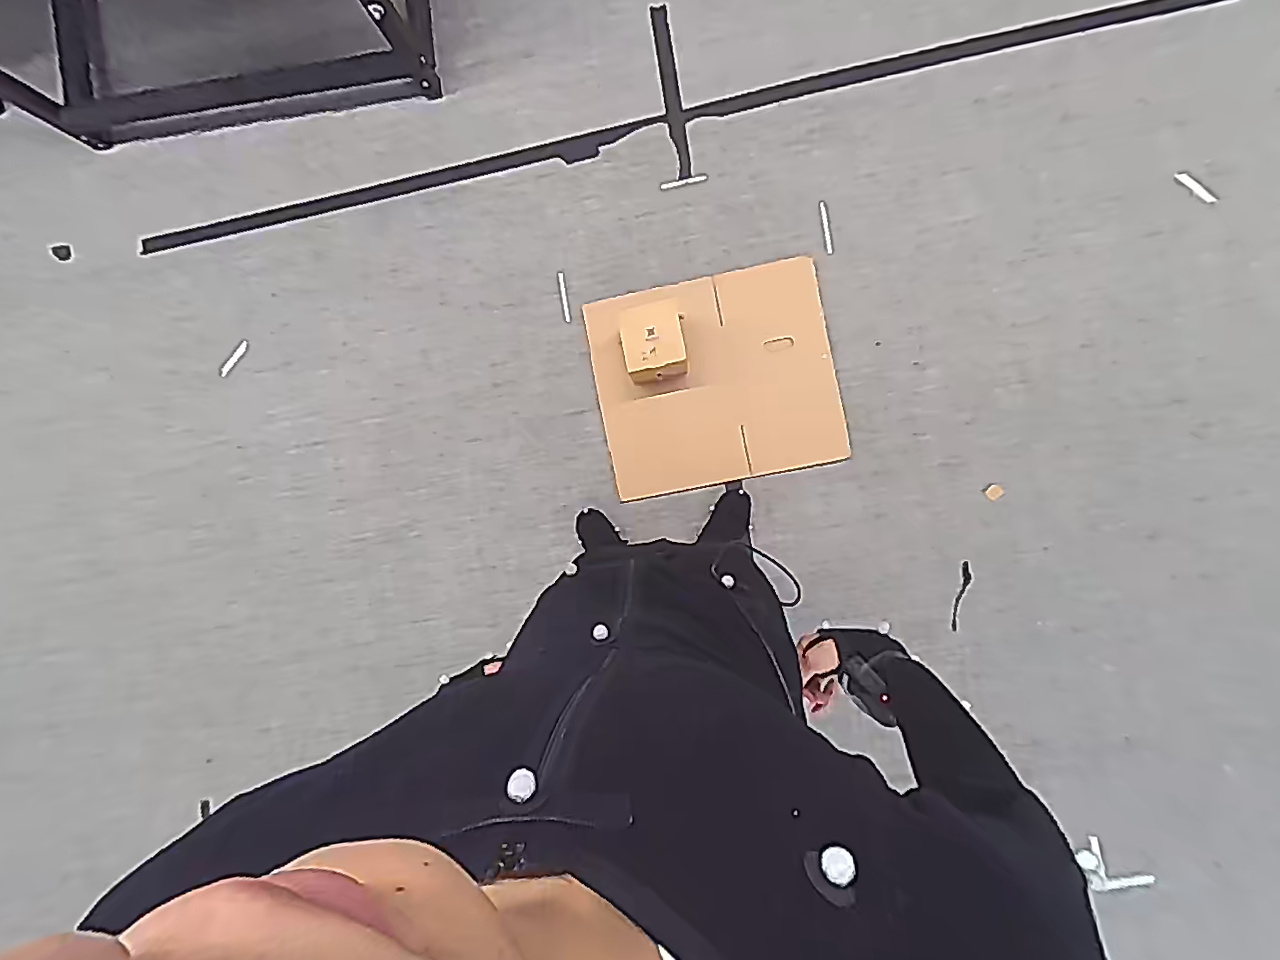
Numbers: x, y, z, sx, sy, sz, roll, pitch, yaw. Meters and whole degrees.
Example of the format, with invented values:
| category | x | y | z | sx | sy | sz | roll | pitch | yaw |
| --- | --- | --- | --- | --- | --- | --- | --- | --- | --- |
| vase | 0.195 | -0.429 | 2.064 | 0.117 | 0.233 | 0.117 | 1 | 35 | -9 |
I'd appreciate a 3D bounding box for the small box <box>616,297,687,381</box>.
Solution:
| category | x | y | z | sx | sy | sz | roll | pitch | yaw |
| --- | --- | --- | --- | --- | --- | --- | --- | --- | --- |
| small box | 0.035 | -0.392 | 1.529 | 0.168 | 0.176 | 0.179 | -11 | 90 | 5 |
